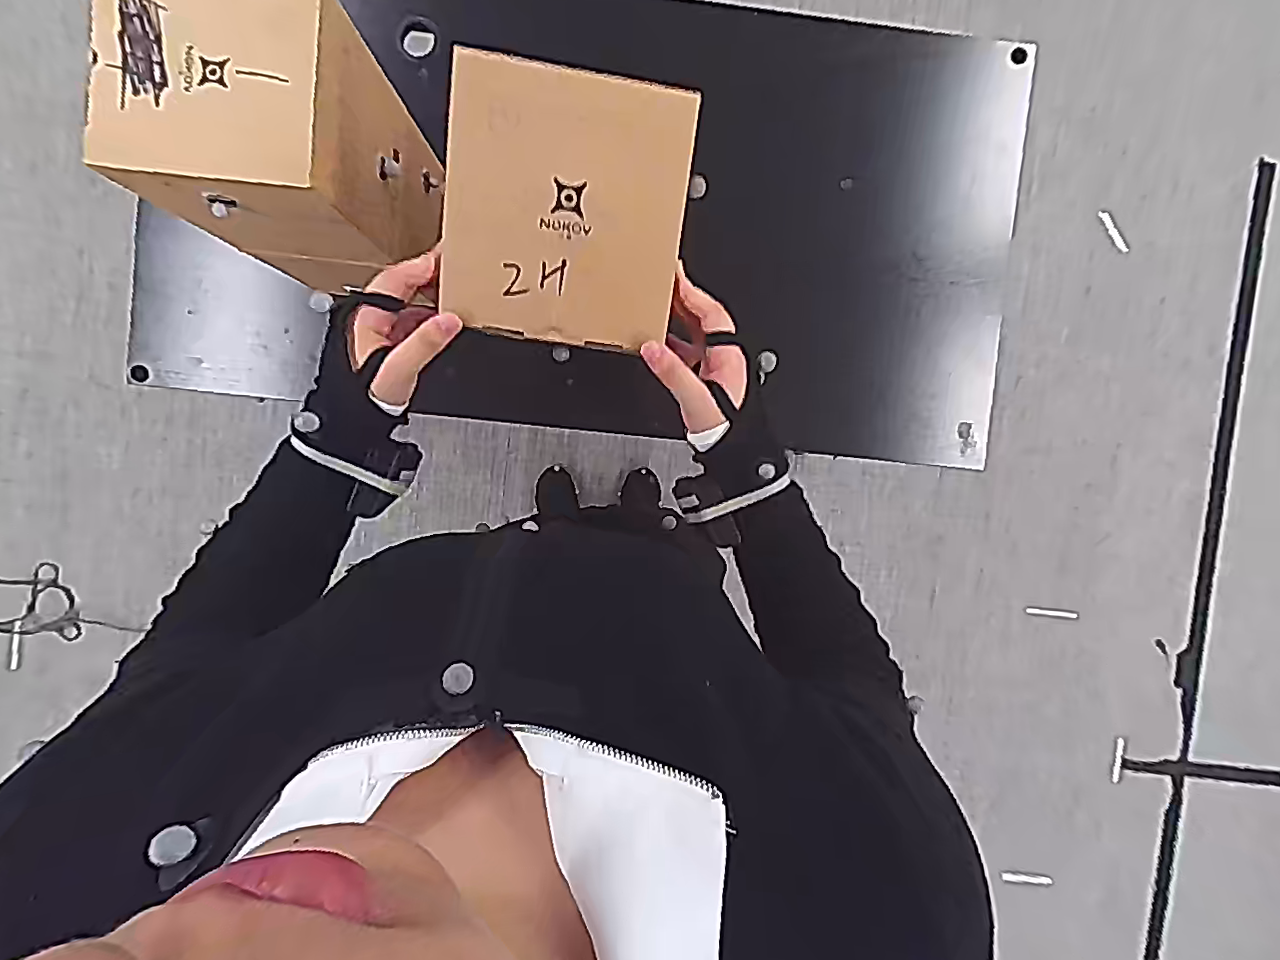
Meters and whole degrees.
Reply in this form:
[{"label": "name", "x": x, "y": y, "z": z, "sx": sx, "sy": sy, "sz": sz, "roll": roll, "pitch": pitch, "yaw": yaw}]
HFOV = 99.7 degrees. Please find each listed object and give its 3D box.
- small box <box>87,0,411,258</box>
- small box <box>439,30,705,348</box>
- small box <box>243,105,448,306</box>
[{"label": "small box", "x": -0.337, "y": -0.321, "z": 0.498, "sx": 0.179, "sy": 0.176, "sz": 0.168, "roll": 5, "pitch": 92, "yaw": -3}, {"label": "small box", "x": -0.055, "y": -0.211, "z": 0.448, "sx": 0.168, "sy": 0.176, "sz": 0.179, "roll": 7, "pitch": 102, "yaw": -6}, {"label": "small box", "x": -0.343, "y": -0.331, "z": 0.663, "sx": 0.168, "sy": 0.176, "sz": 0.179, "roll": 6, "pitch": 93, "yaw": -2}]
